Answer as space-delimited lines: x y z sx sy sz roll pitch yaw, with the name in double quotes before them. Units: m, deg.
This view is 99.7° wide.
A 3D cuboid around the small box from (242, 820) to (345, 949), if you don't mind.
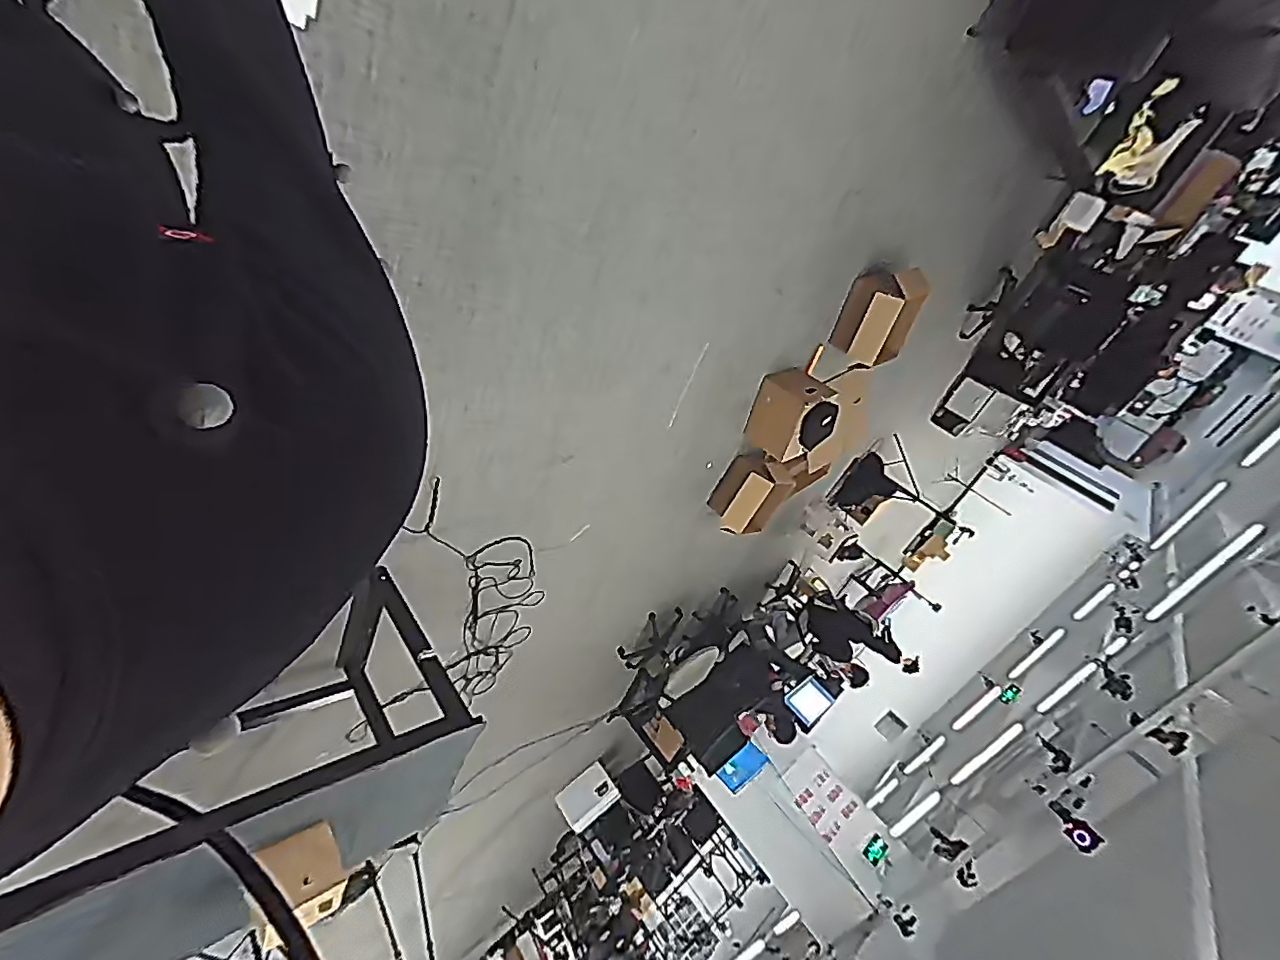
"small box" -0.877 1.011 1.367 0.179 0.176 0.168 -7 131 -46
